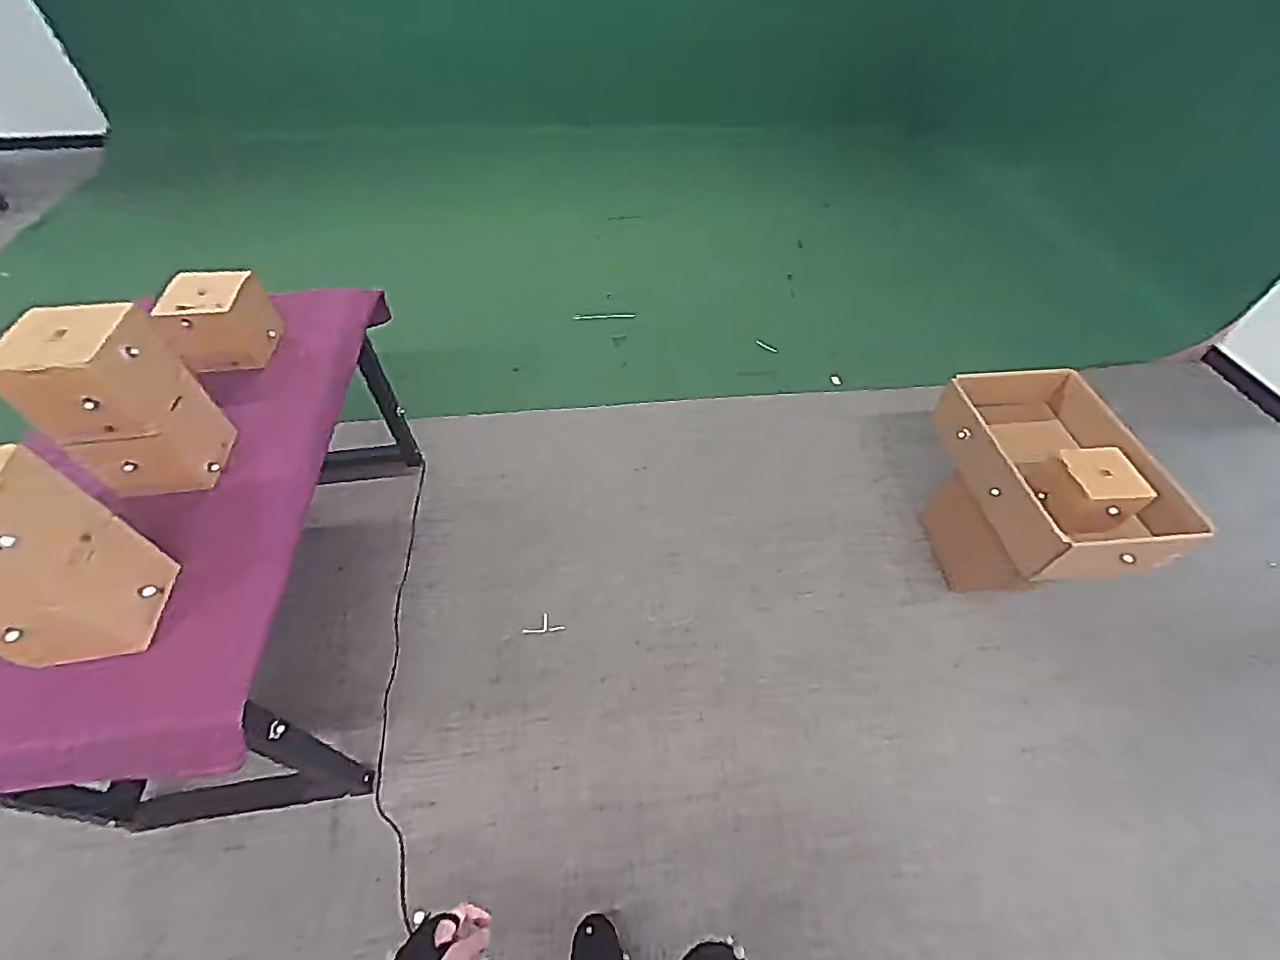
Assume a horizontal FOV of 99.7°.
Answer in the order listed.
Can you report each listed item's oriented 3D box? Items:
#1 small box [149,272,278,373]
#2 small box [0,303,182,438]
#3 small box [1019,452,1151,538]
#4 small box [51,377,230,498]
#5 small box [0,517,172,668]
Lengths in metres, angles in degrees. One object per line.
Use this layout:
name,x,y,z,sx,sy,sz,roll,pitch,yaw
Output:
small box,-1.023,-0.384,1.319,0.168,0.176,0.179,-5,51,-6
small box,-0.962,-0.186,0.949,0.168,0.176,0.179,-5,50,-7
small box,1.176,0.042,1.446,0.179,0.176,0.168,-3,52,-4
small box,-0.970,-0.083,1.075,0.179,0.176,0.168,-7,51,-6
small box,-0.914,0.182,0.858,0.179,0.176,0.168,-7,51,-7
